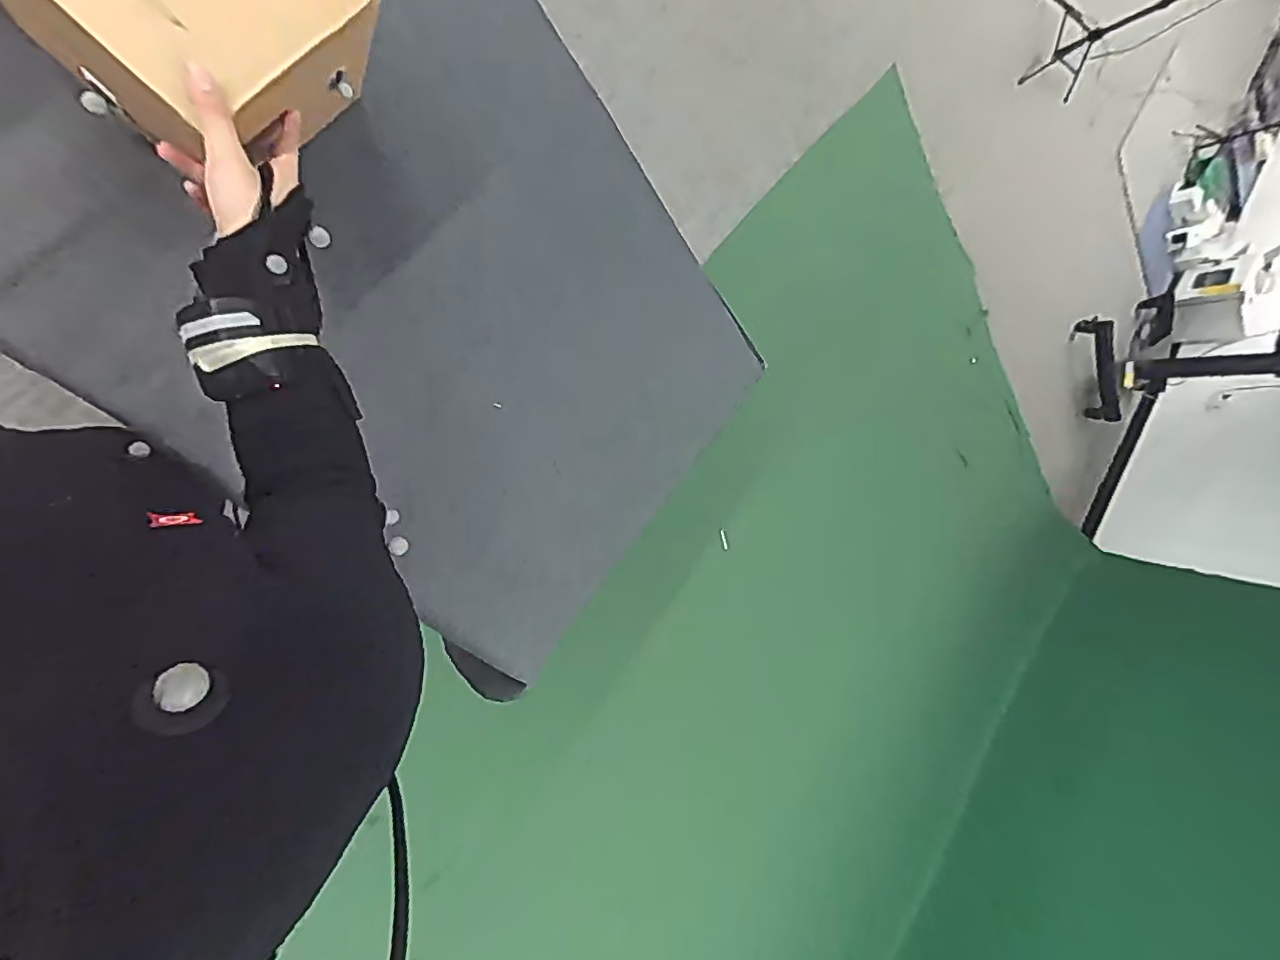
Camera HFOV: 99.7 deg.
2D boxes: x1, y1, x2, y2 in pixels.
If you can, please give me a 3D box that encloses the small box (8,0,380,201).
[{"bbox_3d":[-0.338,-0.357,0.414,0.168,0.176,0.179,43,74,-30],"label":"small box"}]
